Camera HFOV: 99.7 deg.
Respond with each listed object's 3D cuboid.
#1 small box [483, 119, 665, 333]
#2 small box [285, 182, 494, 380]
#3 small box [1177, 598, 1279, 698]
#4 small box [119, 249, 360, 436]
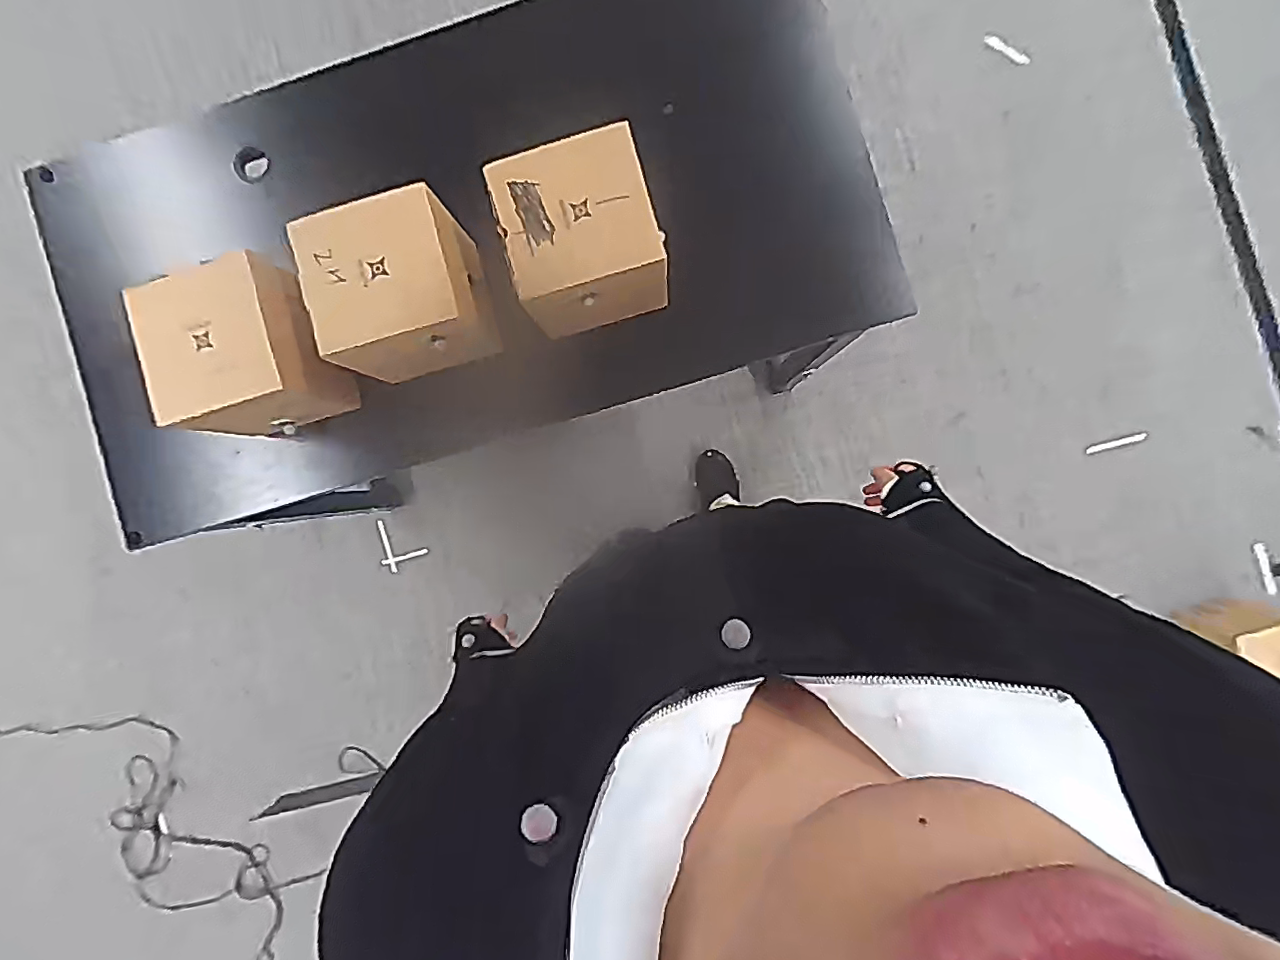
[{"bbox_3d":[-0.071,-0.303,0.686,0.179,0.176,0.168,-16,89,3],"label":"small box"},{"bbox_3d":[-0.304,-0.241,0.700,0.179,0.176,0.168,-15,89,3],"label":"small box"},{"bbox_3d":[1.489,0.406,1.331,0.179,0.176,0.168,-18,90,4],"label":"small box"},{"bbox_3d":[-0.510,-0.166,0.713,0.168,0.176,0.179,-17,90,4],"label":"small box"}]
